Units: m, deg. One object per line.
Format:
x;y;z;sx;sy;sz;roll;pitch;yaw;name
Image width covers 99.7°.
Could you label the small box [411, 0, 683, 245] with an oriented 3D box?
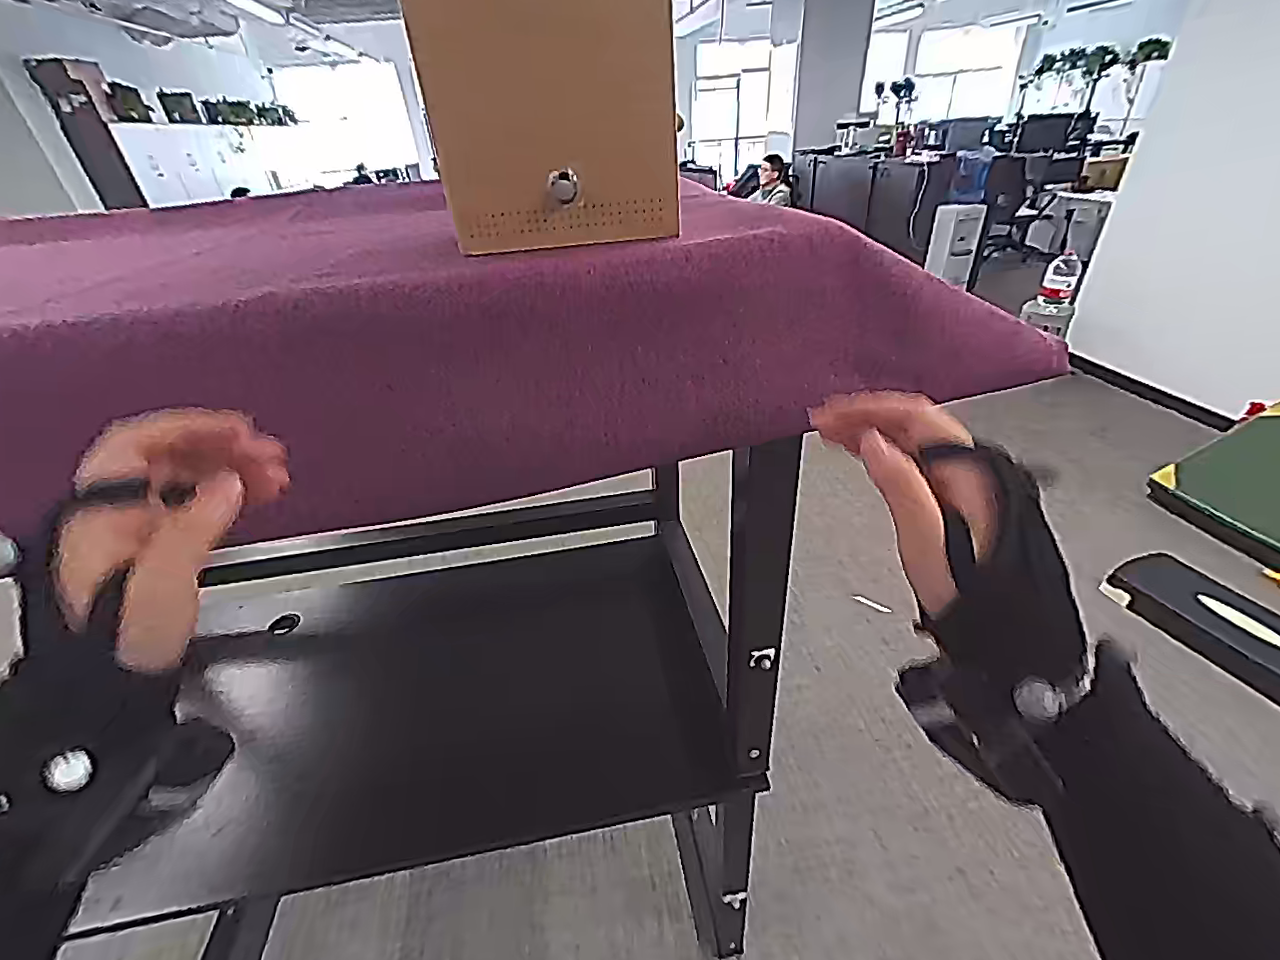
-0.061;-0.300;0.443;0.179;0.176;0.168;-6;32;-1;small box
